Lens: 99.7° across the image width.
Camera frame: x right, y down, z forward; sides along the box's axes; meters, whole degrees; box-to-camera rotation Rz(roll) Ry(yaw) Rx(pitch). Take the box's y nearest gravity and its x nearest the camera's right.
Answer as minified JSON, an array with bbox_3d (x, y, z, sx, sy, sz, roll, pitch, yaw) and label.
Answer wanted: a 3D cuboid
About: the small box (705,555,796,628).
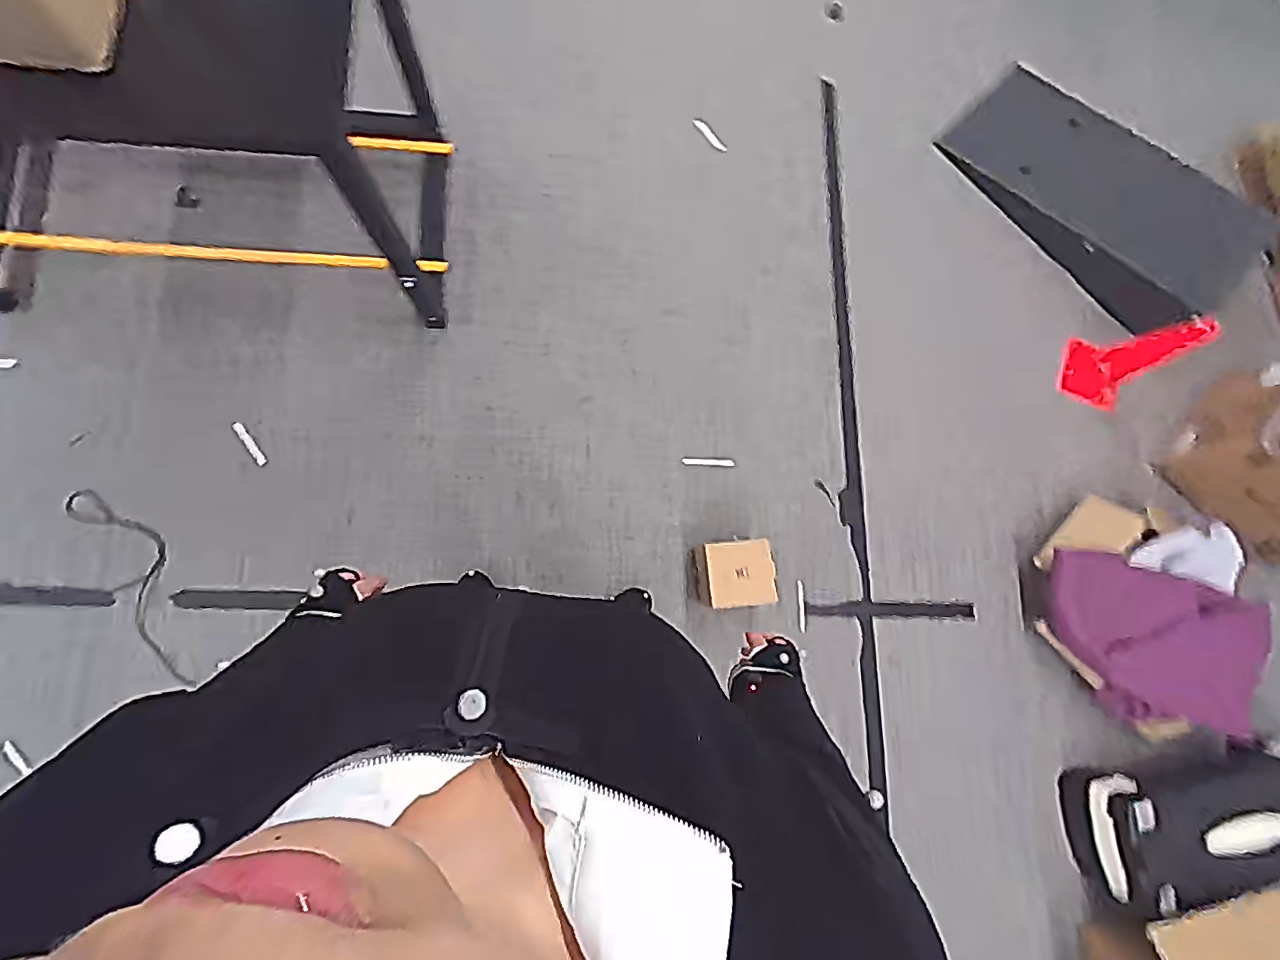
[{"bbox_3d":[0.278,0.281,1.389,0.179,0.176,0.168,-5,81,-6],"label":"small box"}]
